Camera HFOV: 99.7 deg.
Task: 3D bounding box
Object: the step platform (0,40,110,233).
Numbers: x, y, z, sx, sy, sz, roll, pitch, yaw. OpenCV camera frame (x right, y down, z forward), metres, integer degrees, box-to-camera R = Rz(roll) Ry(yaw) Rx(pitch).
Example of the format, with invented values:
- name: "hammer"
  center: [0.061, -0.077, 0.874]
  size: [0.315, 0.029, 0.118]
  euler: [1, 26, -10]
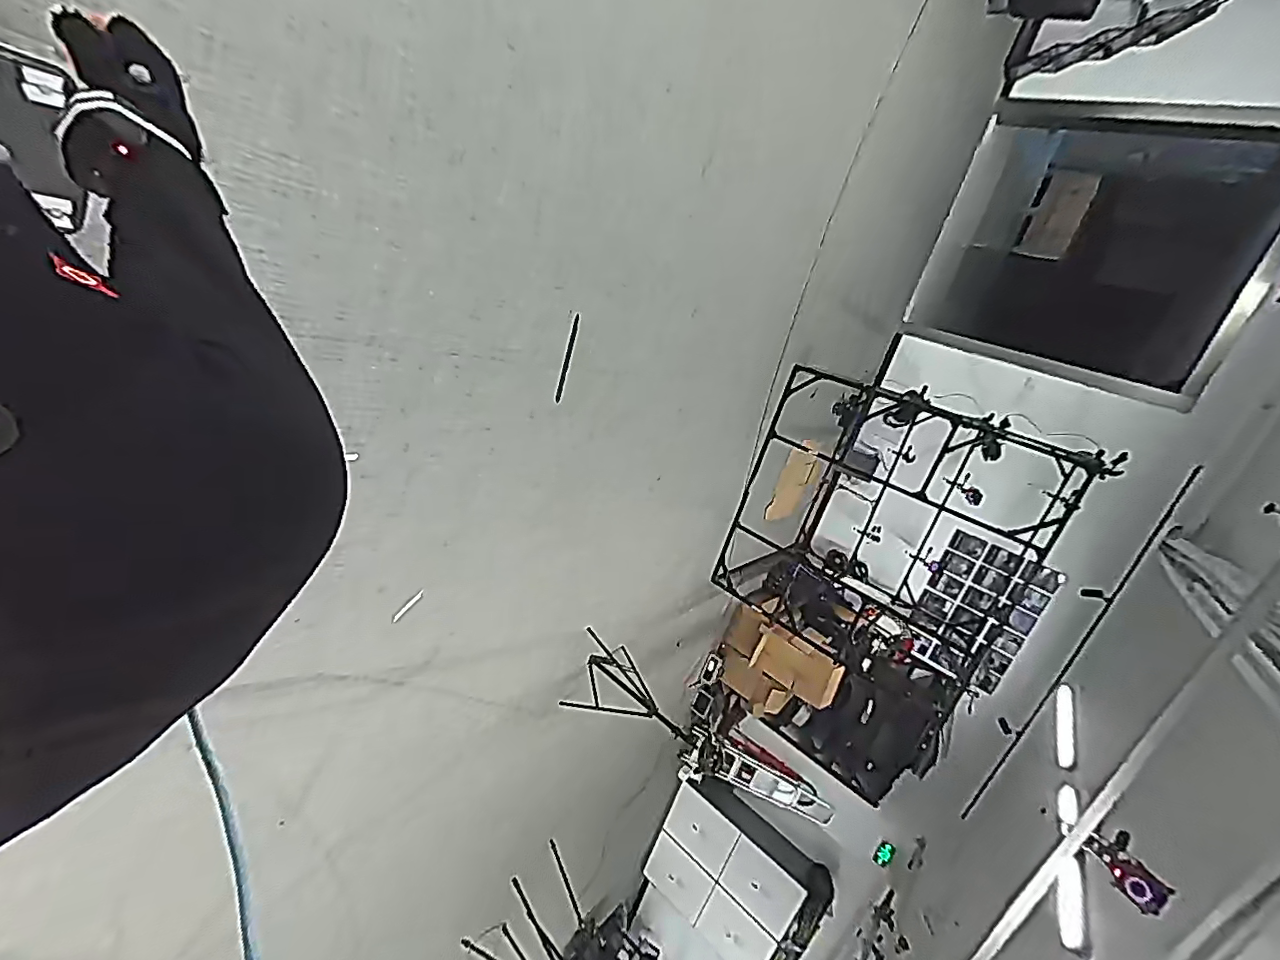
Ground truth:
- name: "step platform"
  center: [-1.246, -0.592, 0.784]
  size: [0.684, 0.204, 0.286]
  euler: [-10, 123, -53]
